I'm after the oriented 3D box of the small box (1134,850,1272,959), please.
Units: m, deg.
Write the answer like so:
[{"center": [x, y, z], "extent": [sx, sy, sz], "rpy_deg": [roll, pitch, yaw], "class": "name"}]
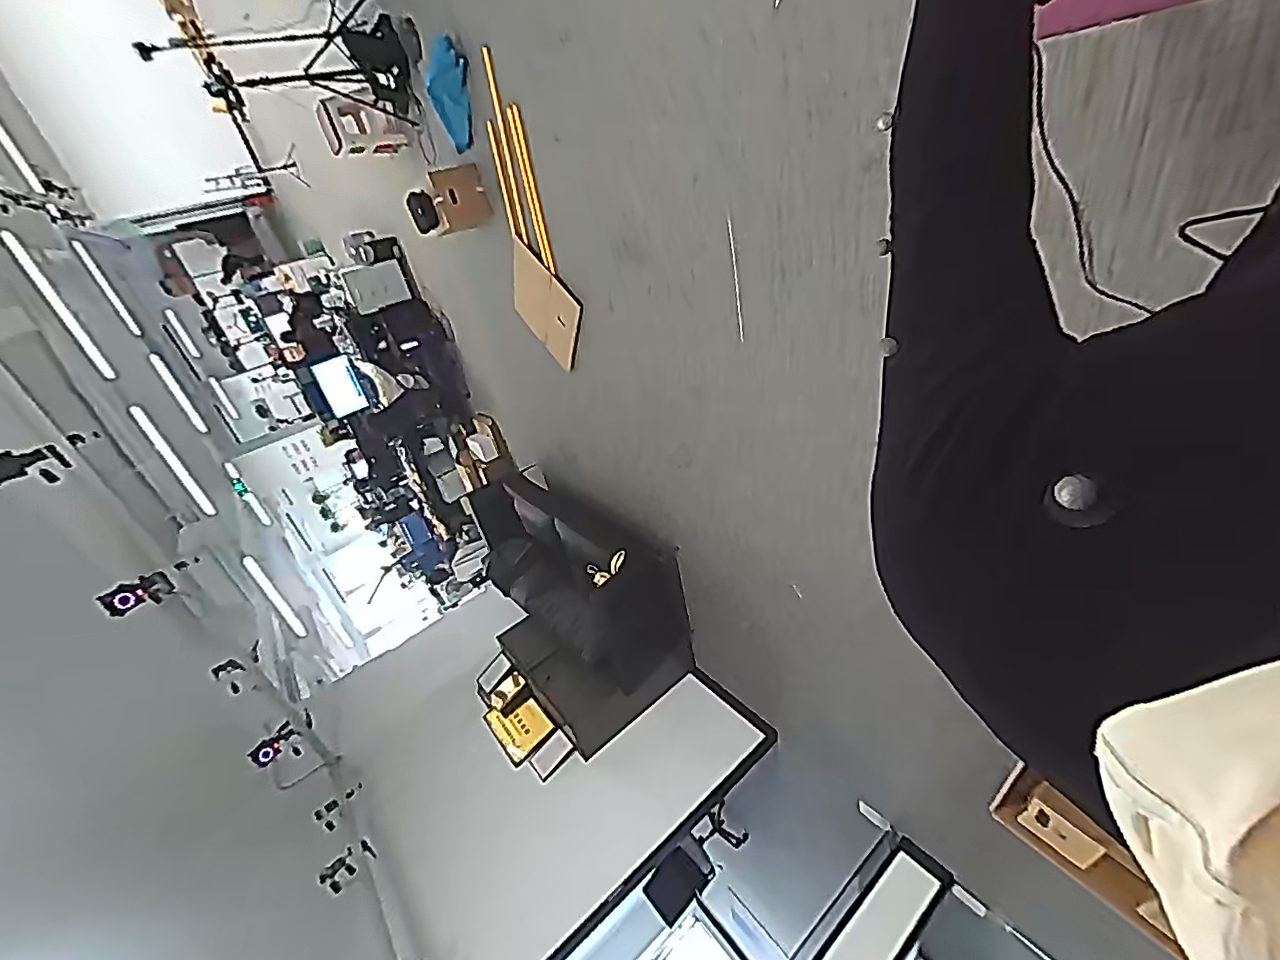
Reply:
[{"center": [1.413, 1.087, 1.358], "extent": [0.179, 0.176, 0.168], "rpy_deg": [35, 145, 39], "class": "small box"}]
